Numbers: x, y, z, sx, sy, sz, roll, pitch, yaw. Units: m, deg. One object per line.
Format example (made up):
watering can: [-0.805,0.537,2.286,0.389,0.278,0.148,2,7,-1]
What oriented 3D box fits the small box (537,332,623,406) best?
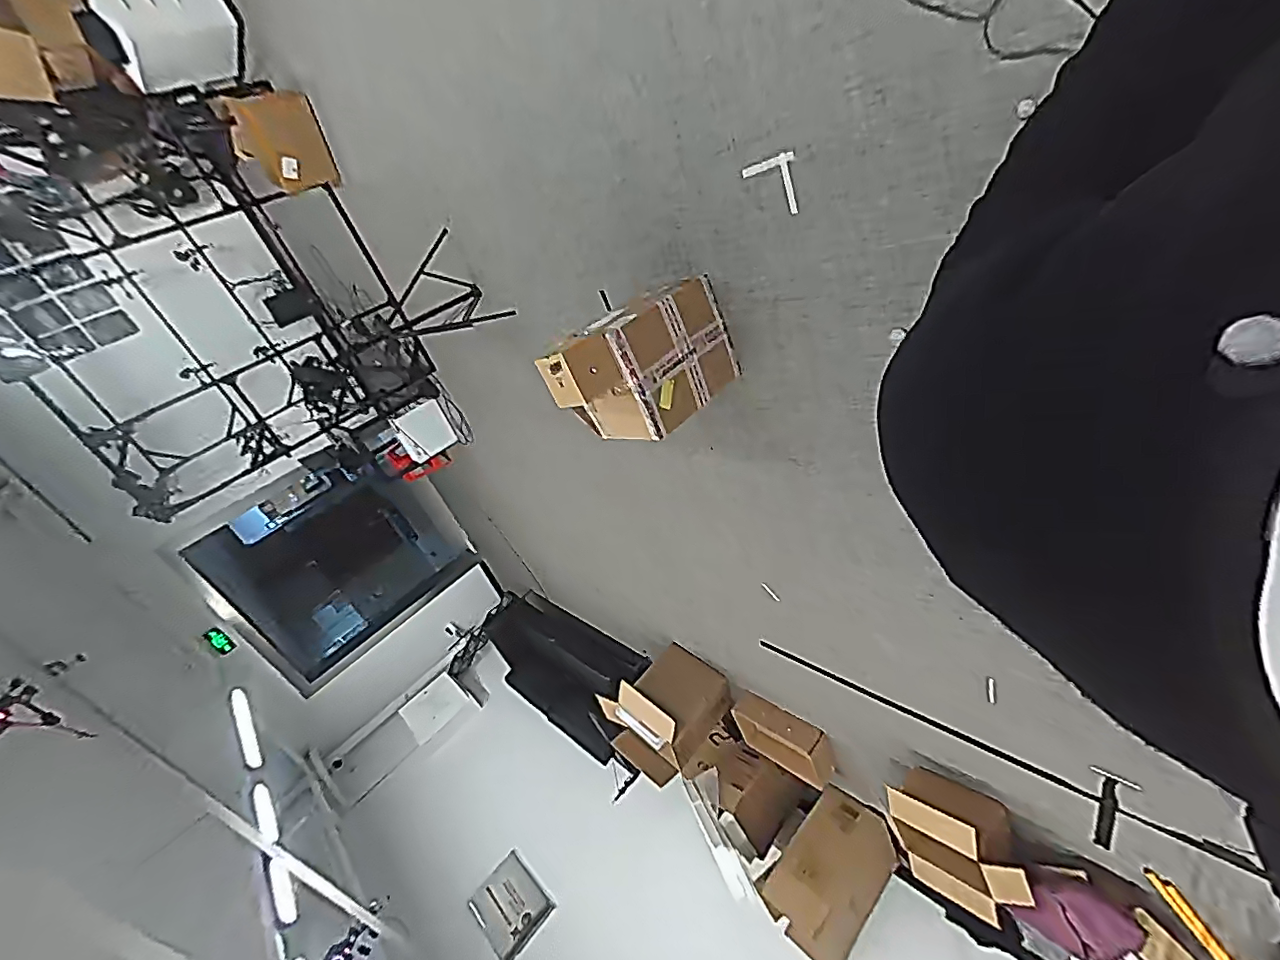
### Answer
small box: [-0.187,-0.356,1.719,0.168,0.176,0.179,3,126,50]
